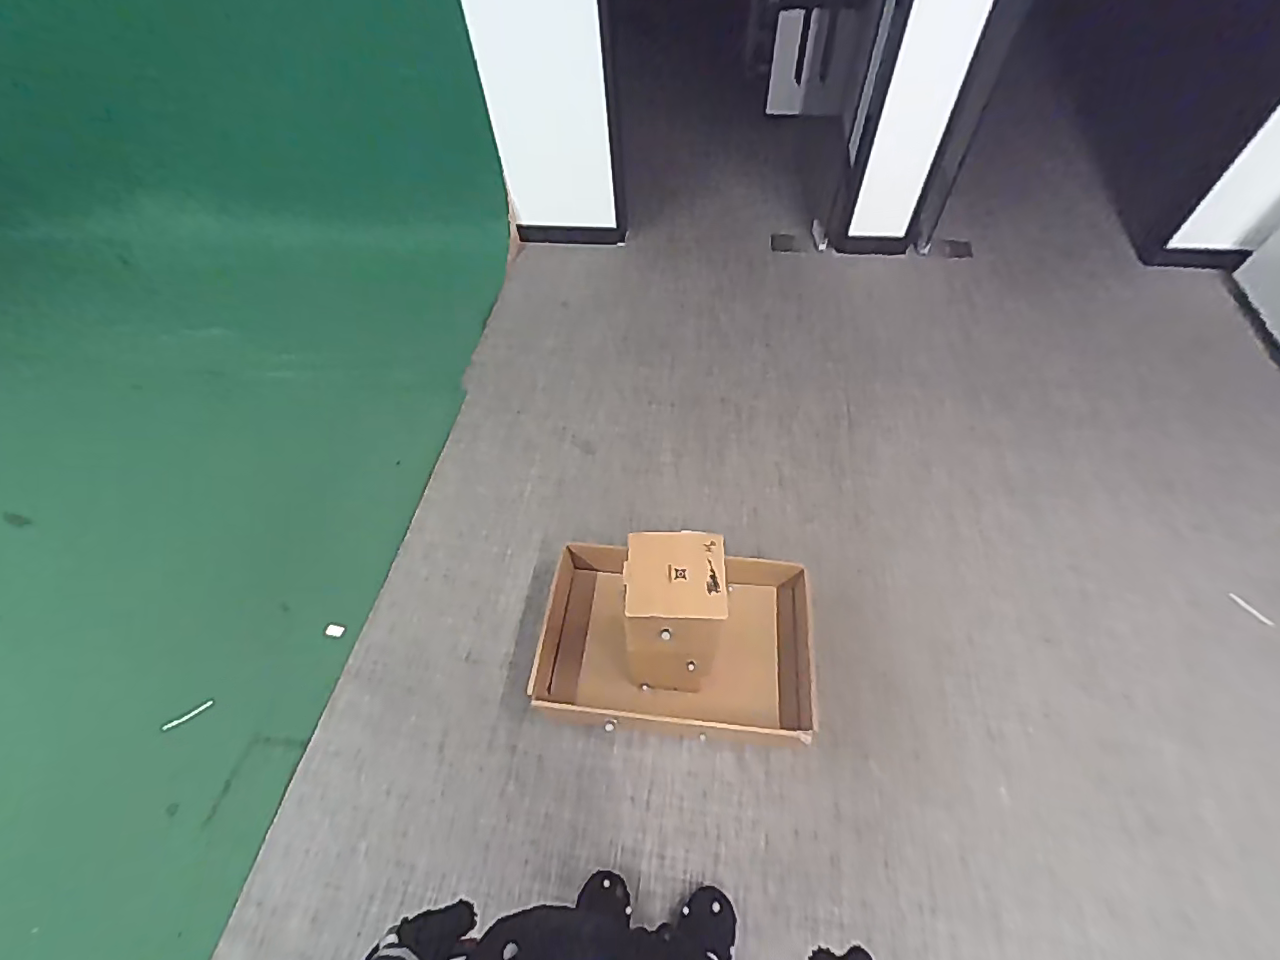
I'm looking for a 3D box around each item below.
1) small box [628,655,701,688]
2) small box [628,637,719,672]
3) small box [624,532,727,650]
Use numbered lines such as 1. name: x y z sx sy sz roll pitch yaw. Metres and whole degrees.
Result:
1. small box: 0.067 0.385 1.290 0.168 0.176 0.179 4 55 5
2. small box: 0.065 0.297 1.134 0.179 0.176 0.168 -1 55 1
3. small box: 0.062 0.212 1.017 0.179 0.176 0.168 -1 53 0
